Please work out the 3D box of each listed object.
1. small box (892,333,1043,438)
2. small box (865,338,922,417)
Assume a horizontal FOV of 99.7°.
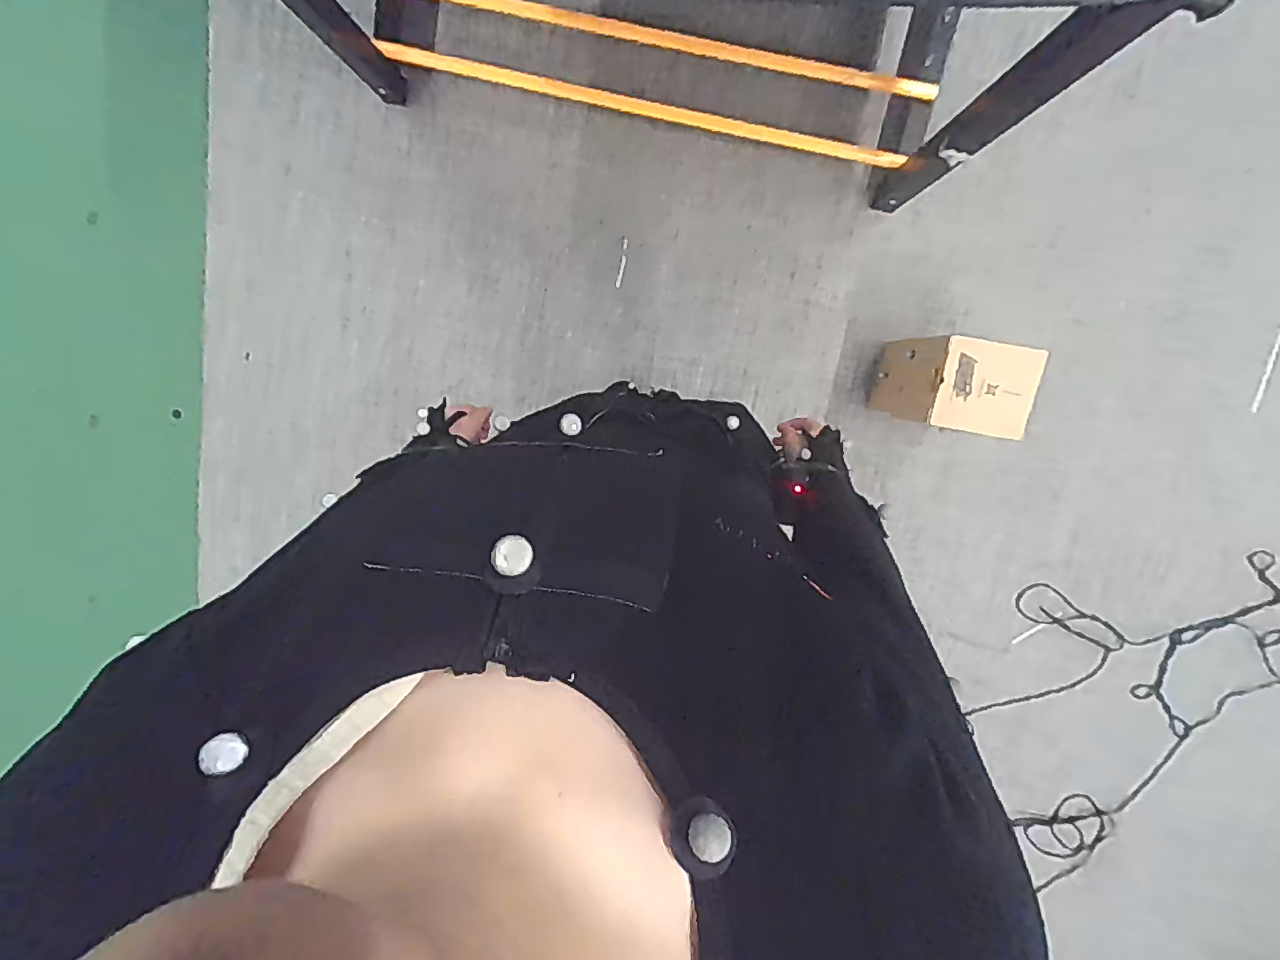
[{"bbox_3d":[0.622,-0.183,1.054,0.179,0.176,0.168,10,101,-1],"label":"small box"},{"bbox_3d":[0.641,-0.215,1.215,0.179,0.176,0.168,12,100,0],"label":"small box"}]
